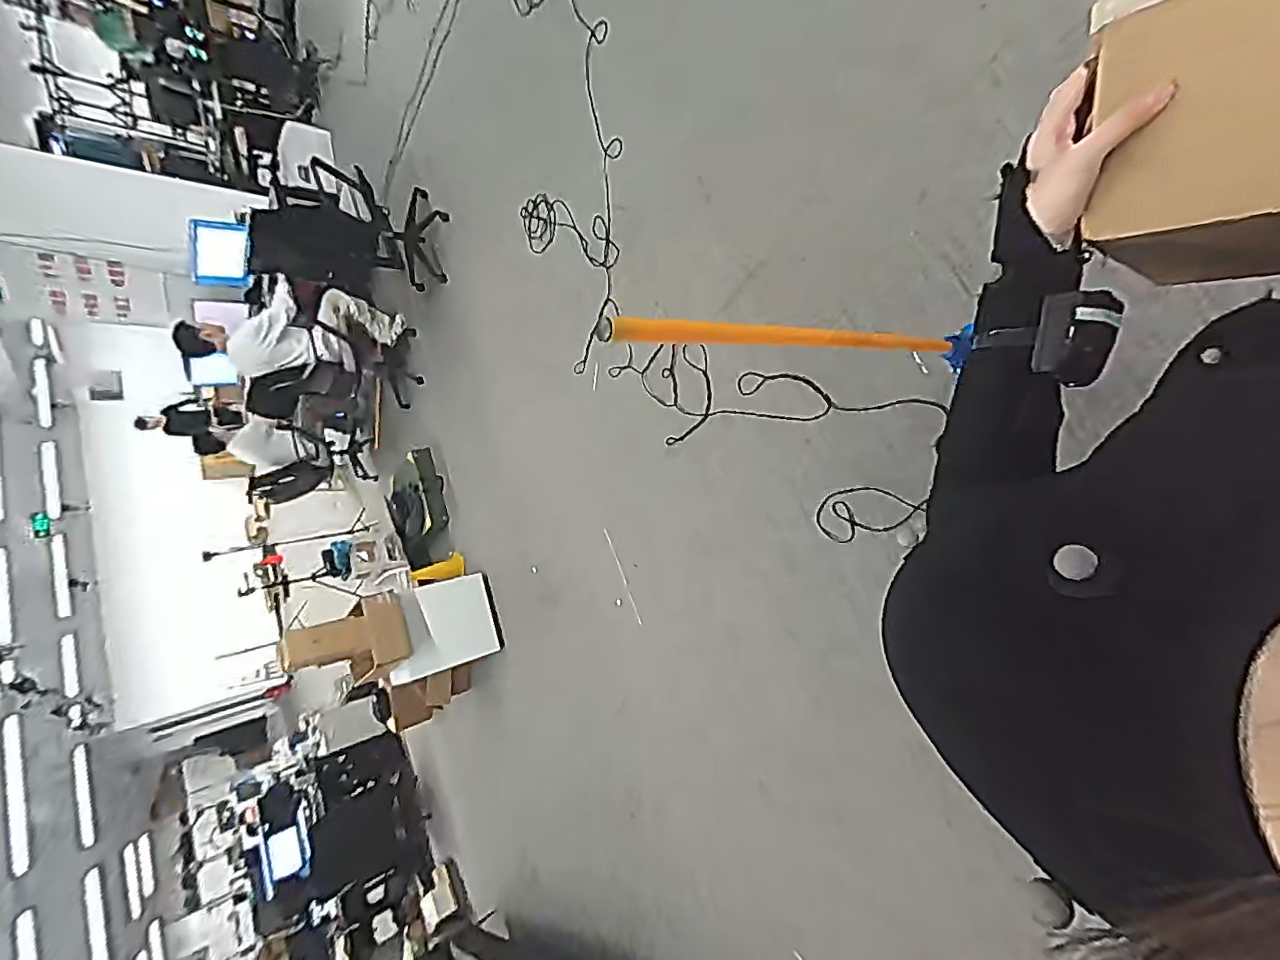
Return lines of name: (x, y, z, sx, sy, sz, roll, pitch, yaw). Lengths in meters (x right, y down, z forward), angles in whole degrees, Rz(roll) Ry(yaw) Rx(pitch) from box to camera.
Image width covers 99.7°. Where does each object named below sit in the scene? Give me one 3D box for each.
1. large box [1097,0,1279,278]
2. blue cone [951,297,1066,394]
large box: (0.575, -0.336, 0.329, 0.408, 0.320, 0.320, 9, 104, 49)
blue cone: (0.753, -0.296, 1.178, 0.192, 0.380, 0.193, -23, 79, 47)
